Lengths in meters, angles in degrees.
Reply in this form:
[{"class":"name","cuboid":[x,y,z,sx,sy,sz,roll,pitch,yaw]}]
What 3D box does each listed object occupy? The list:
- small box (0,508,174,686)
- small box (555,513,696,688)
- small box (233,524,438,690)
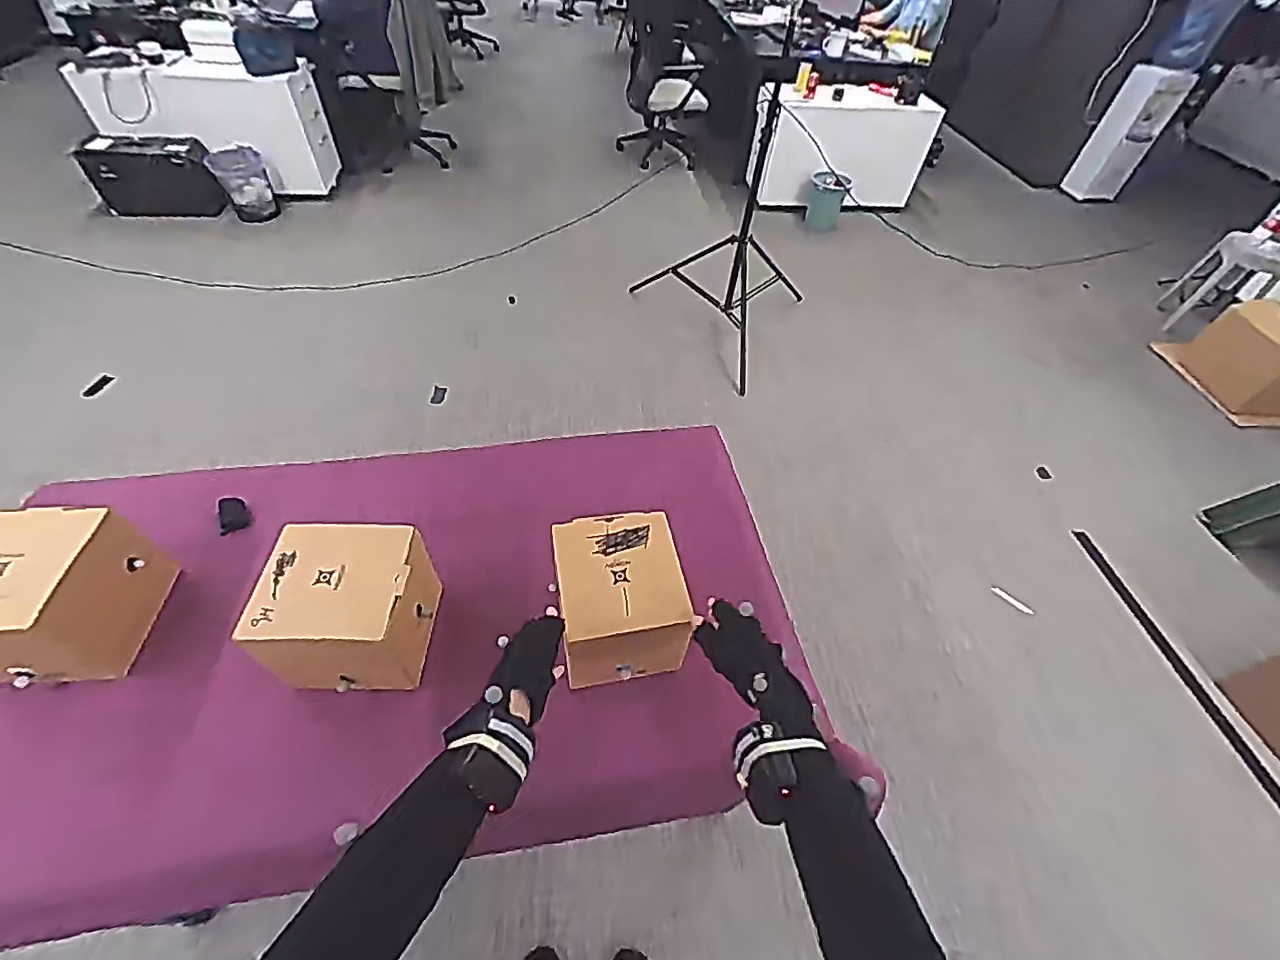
[{"class":"small box","cuboid":[-0.783,0.157,0.724,0.168,0.176,0.179,-2,51,-6]},{"class":"small box","cuboid":[-0.030,0.173,0.777,0.168,0.176,0.179,-7,51,-10]},{"class":"small box","cuboid":[-0.393,0.178,0.742,0.179,0.176,0.168,2,49,-4]}]
